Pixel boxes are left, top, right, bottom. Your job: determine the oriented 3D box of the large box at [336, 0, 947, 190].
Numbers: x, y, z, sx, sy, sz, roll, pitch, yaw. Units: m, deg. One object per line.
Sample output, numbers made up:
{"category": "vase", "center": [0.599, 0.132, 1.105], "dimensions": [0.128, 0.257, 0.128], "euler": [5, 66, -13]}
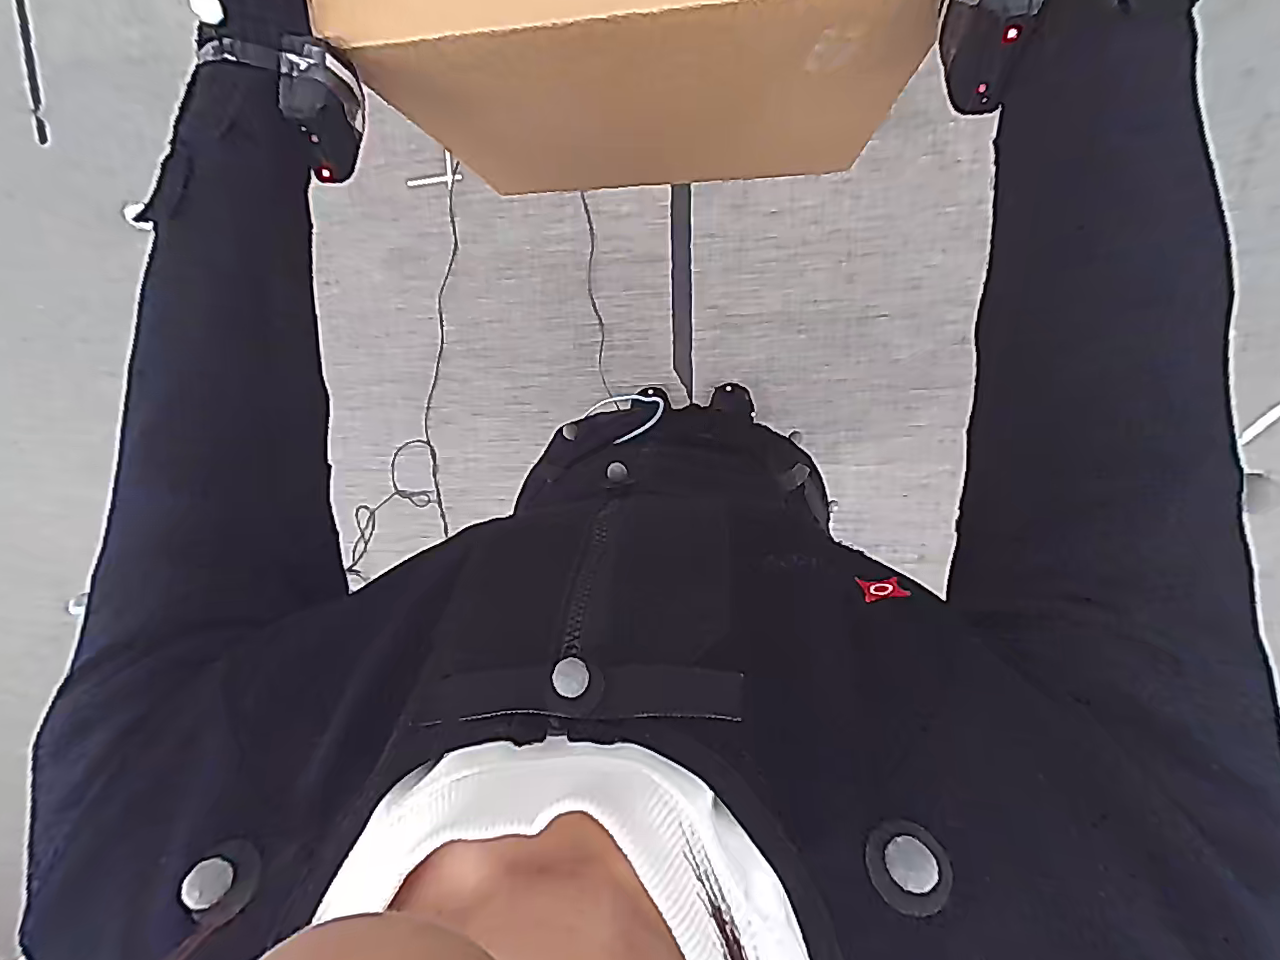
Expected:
{"category": "large box", "center": [0.008, -0.469, 0.448], "dimensions": [0.408, 0.320, 0.320], "euler": [-1, 102, 7]}
